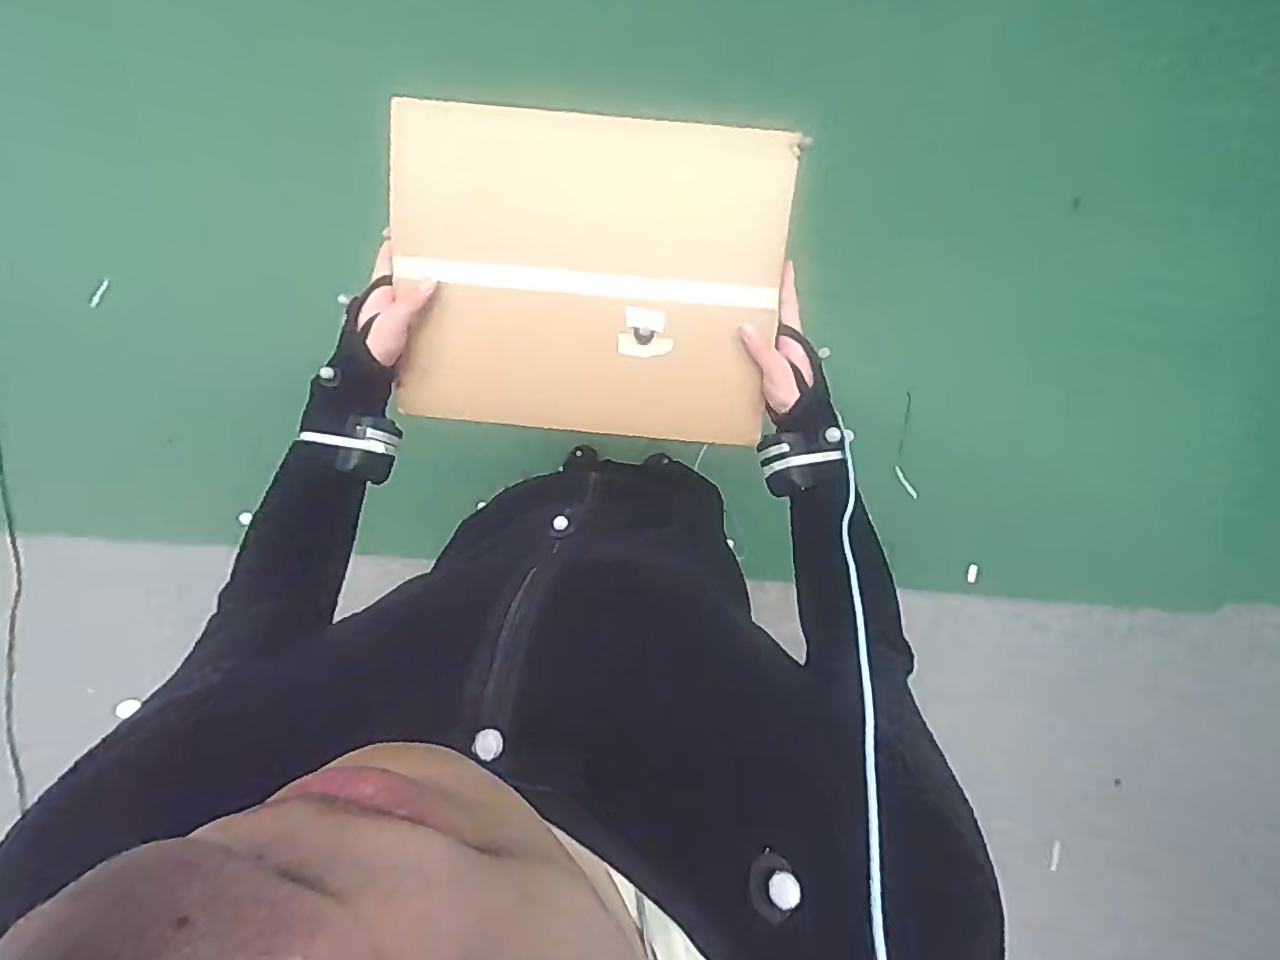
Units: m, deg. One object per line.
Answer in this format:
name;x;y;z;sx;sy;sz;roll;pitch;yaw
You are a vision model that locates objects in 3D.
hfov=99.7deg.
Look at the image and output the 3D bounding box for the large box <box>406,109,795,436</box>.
large box;-0.050;-0.244;0.723;0.408;0.320;0.320;5;103;0
